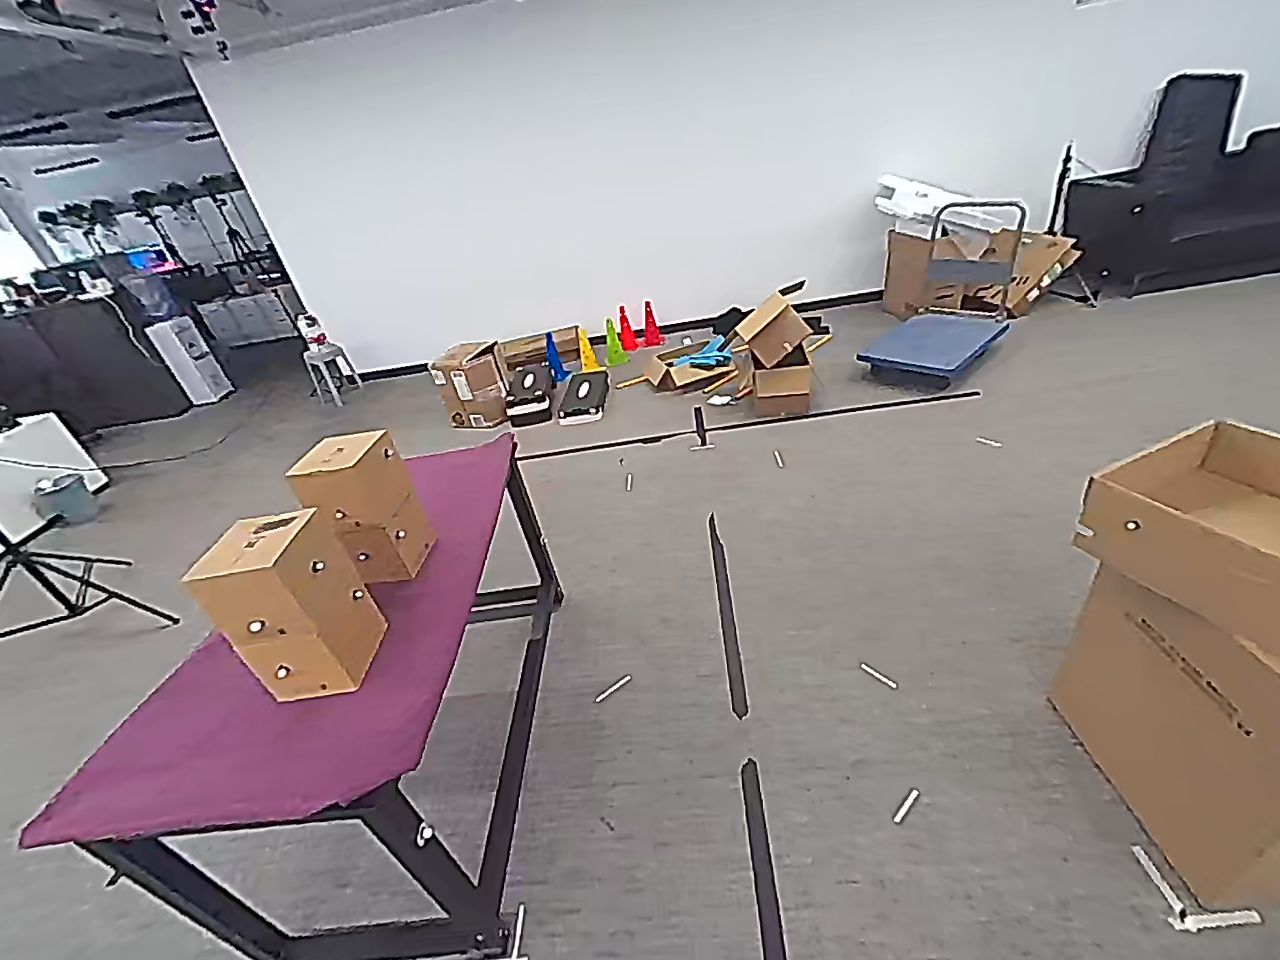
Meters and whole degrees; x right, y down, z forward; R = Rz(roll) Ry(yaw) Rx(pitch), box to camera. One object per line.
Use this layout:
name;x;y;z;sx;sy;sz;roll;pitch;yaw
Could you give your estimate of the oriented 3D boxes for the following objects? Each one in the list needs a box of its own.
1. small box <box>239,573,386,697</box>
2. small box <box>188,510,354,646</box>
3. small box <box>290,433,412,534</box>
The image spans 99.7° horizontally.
small box;-0.649;0.321;1.101;0.168;0.176;0.179;-10;32;3
small box;-0.672;0.182;1.015;0.168;0.176;0.179;-10;32;3
small box;-0.669;0.008;1.280;0.168;0.176;0.179;-7;33;8
